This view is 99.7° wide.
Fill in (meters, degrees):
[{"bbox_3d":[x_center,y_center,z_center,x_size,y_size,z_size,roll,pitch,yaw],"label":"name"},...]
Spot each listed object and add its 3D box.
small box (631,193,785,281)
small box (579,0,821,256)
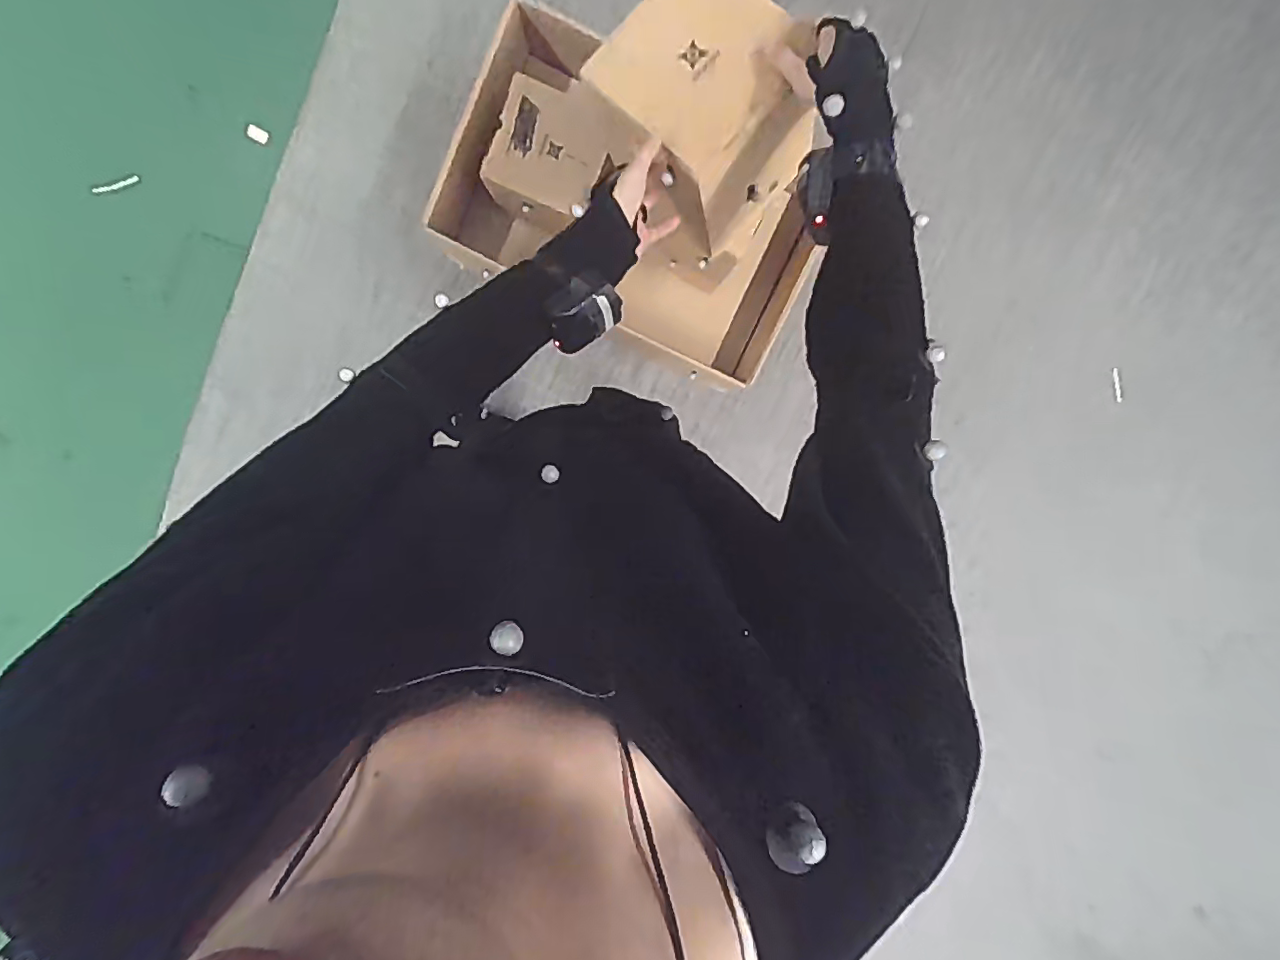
[{"bbox_3d":[0.100,-0.411,0.785,0.179,0.176,0.168,29,96,-5],"label":"small box"},{"bbox_3d":[0.067,-0.387,0.591,0.168,0.176,0.179,-43,78,5],"label":"small box"}]
